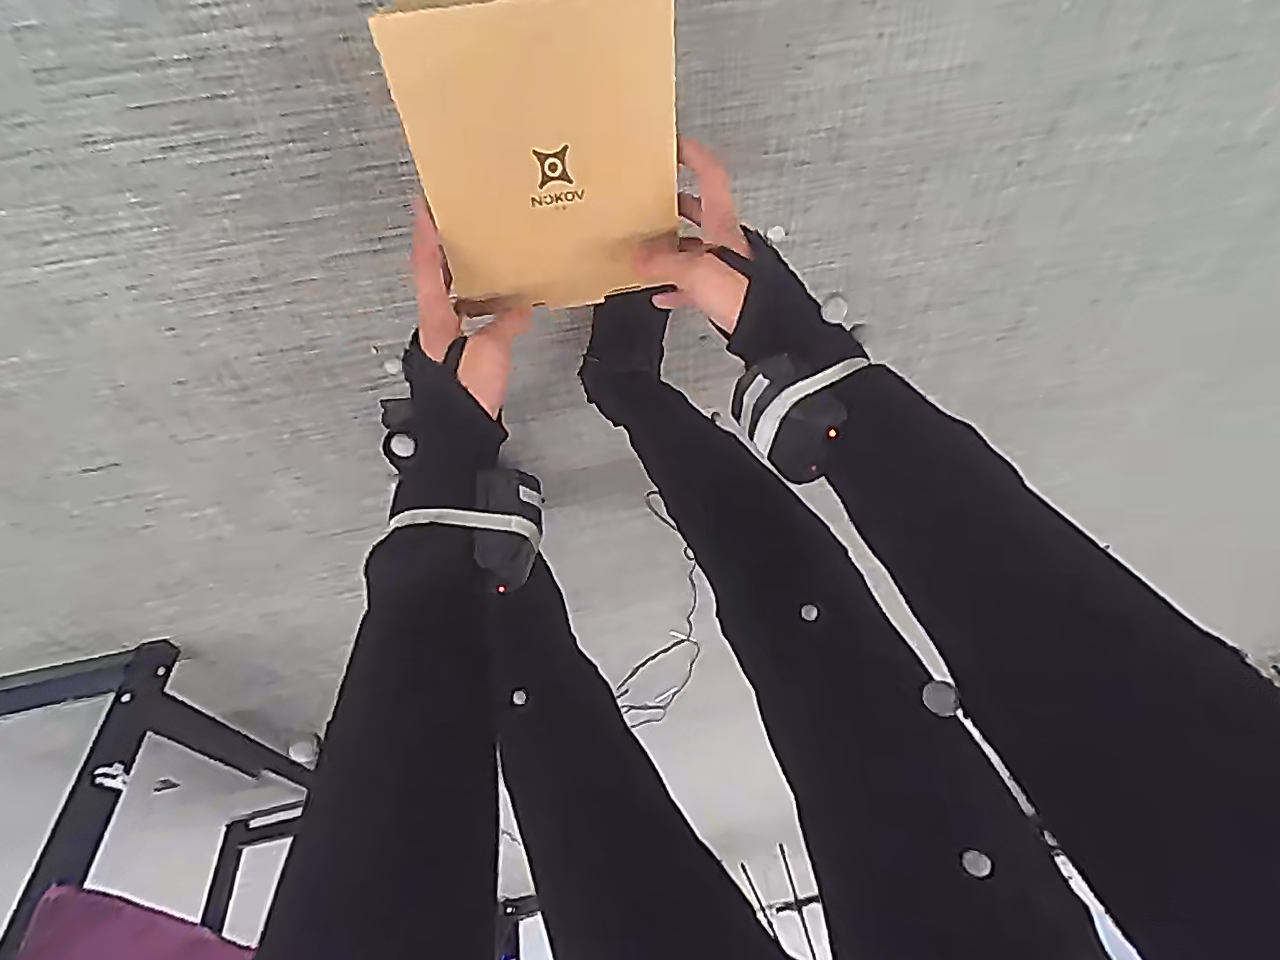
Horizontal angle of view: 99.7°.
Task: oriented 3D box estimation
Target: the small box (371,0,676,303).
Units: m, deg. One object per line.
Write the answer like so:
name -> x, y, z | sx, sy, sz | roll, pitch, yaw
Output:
small box -> -0.075, -0.261, 0.398 | 0.168, 0.176, 0.179 | -12, 139, -6
